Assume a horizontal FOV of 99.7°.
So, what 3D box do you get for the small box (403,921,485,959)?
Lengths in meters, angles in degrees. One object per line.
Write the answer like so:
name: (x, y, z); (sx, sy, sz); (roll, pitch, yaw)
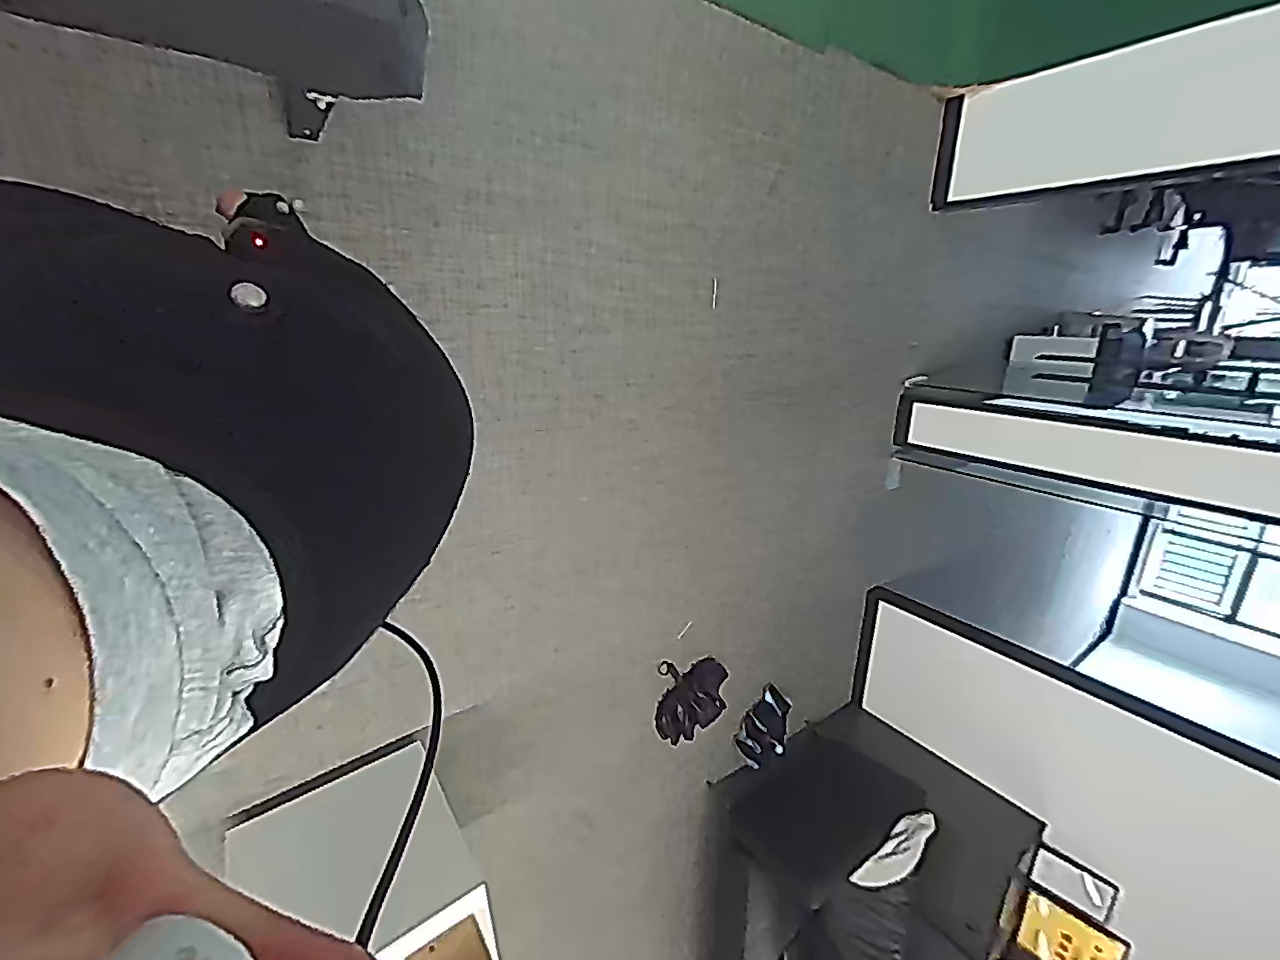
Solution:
small box: (-0.424, 1.153, 1.205); (0.168, 0.176, 0.179); (-15, 115, -33)
